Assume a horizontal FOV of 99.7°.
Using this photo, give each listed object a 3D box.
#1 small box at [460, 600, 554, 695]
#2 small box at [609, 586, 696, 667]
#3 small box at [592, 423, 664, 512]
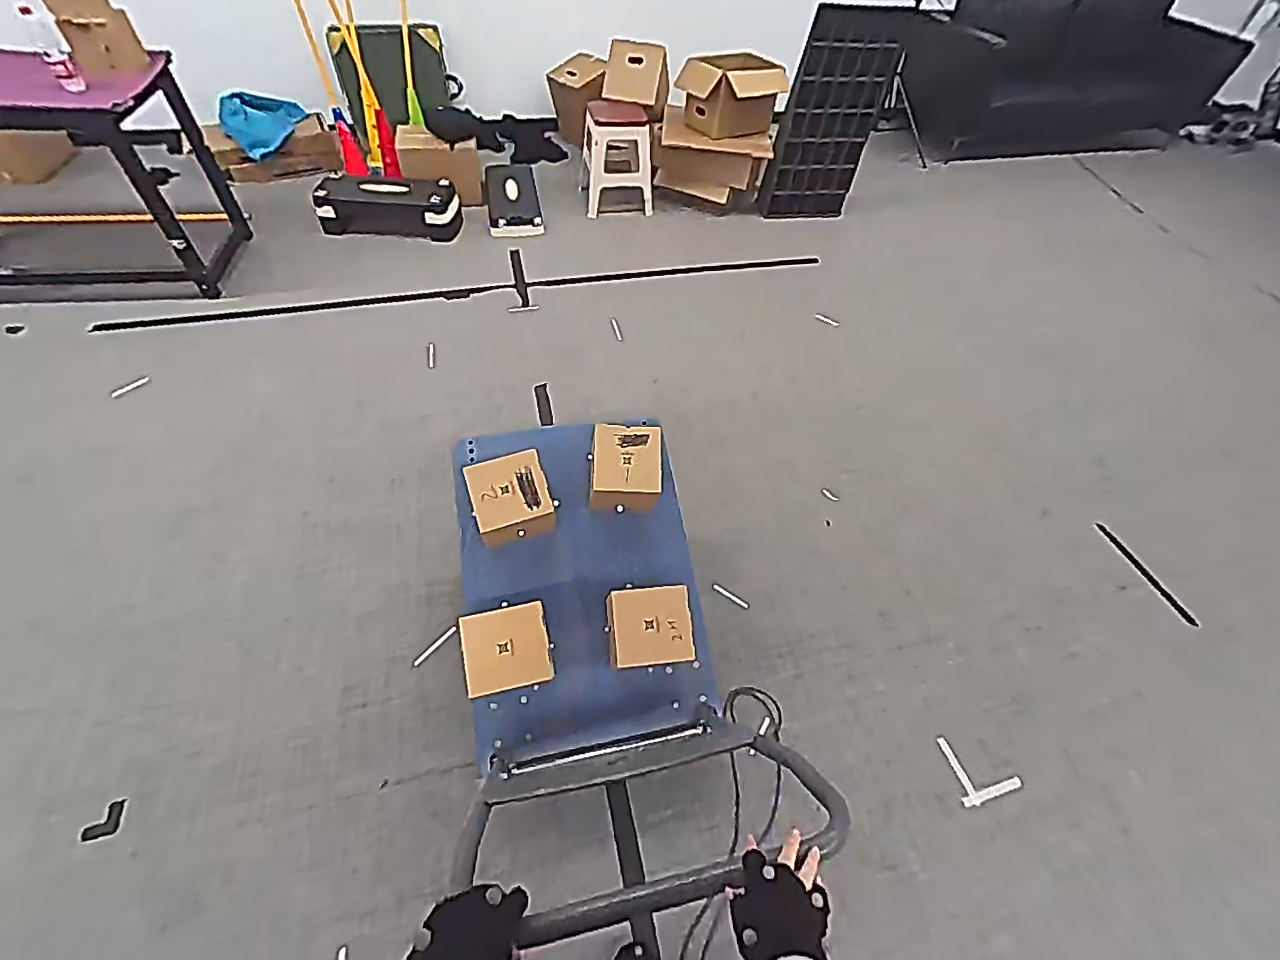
[{"bbox_3d":[-0.291,0.377,1.208,0.179,0.176,0.168,-10,72,-12],"label":"small box"},{"bbox_3d":[0.020,0.346,1.264,0.179,0.176,0.168,-2,72,-9],"label":"small box"},{"bbox_3d":[-0.035,-0.027,1.387,0.168,0.176,0.179,3,72,-7],"label":"small box"}]
